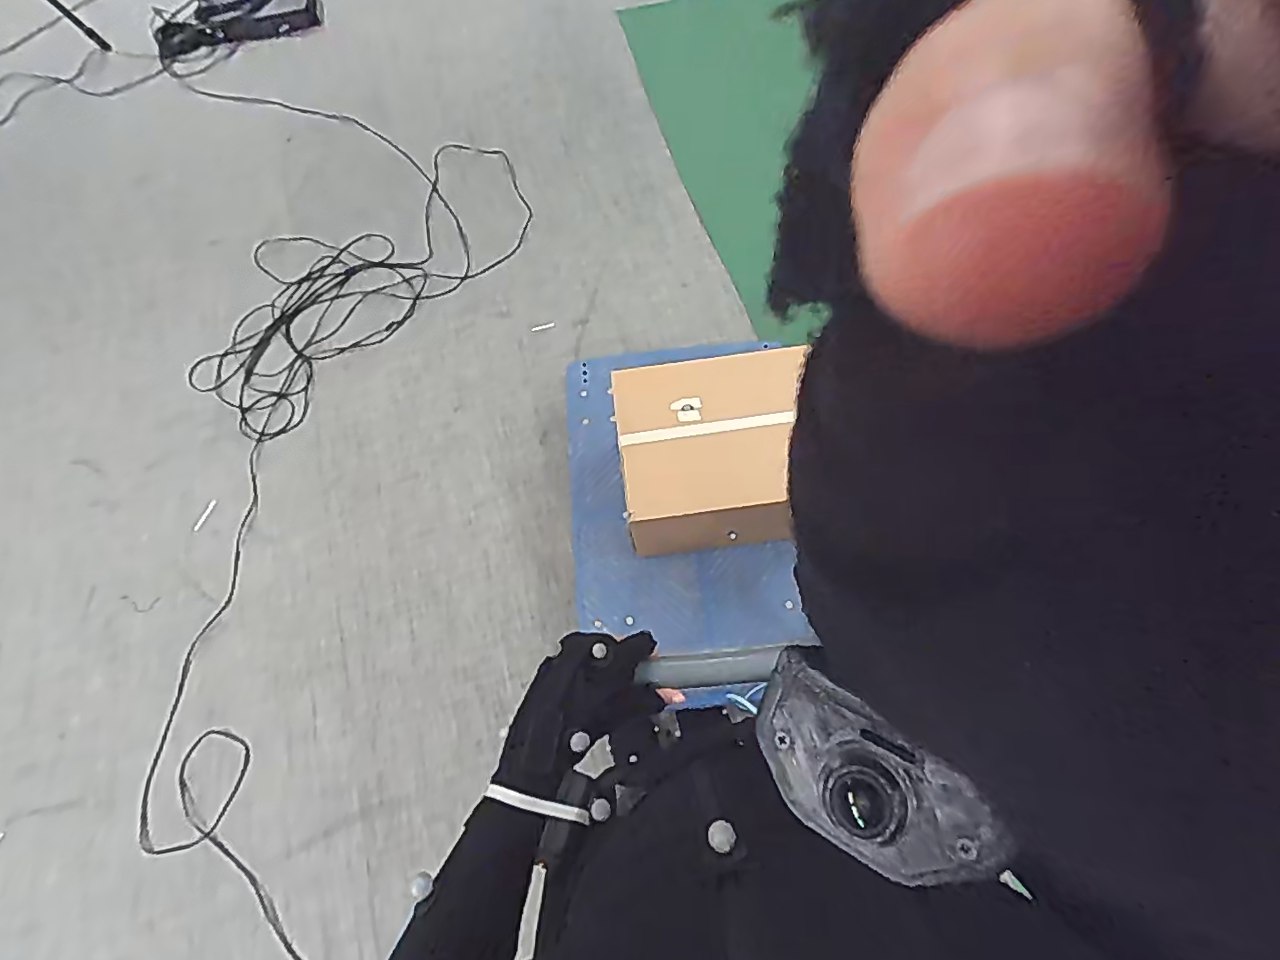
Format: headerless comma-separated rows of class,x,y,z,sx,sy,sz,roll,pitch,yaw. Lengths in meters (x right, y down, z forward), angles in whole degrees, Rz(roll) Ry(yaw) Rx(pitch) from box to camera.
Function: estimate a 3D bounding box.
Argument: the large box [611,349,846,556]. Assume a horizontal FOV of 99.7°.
large box,0.169,-0.040,1.169,0.408,0.320,0.320,-9,70,1
